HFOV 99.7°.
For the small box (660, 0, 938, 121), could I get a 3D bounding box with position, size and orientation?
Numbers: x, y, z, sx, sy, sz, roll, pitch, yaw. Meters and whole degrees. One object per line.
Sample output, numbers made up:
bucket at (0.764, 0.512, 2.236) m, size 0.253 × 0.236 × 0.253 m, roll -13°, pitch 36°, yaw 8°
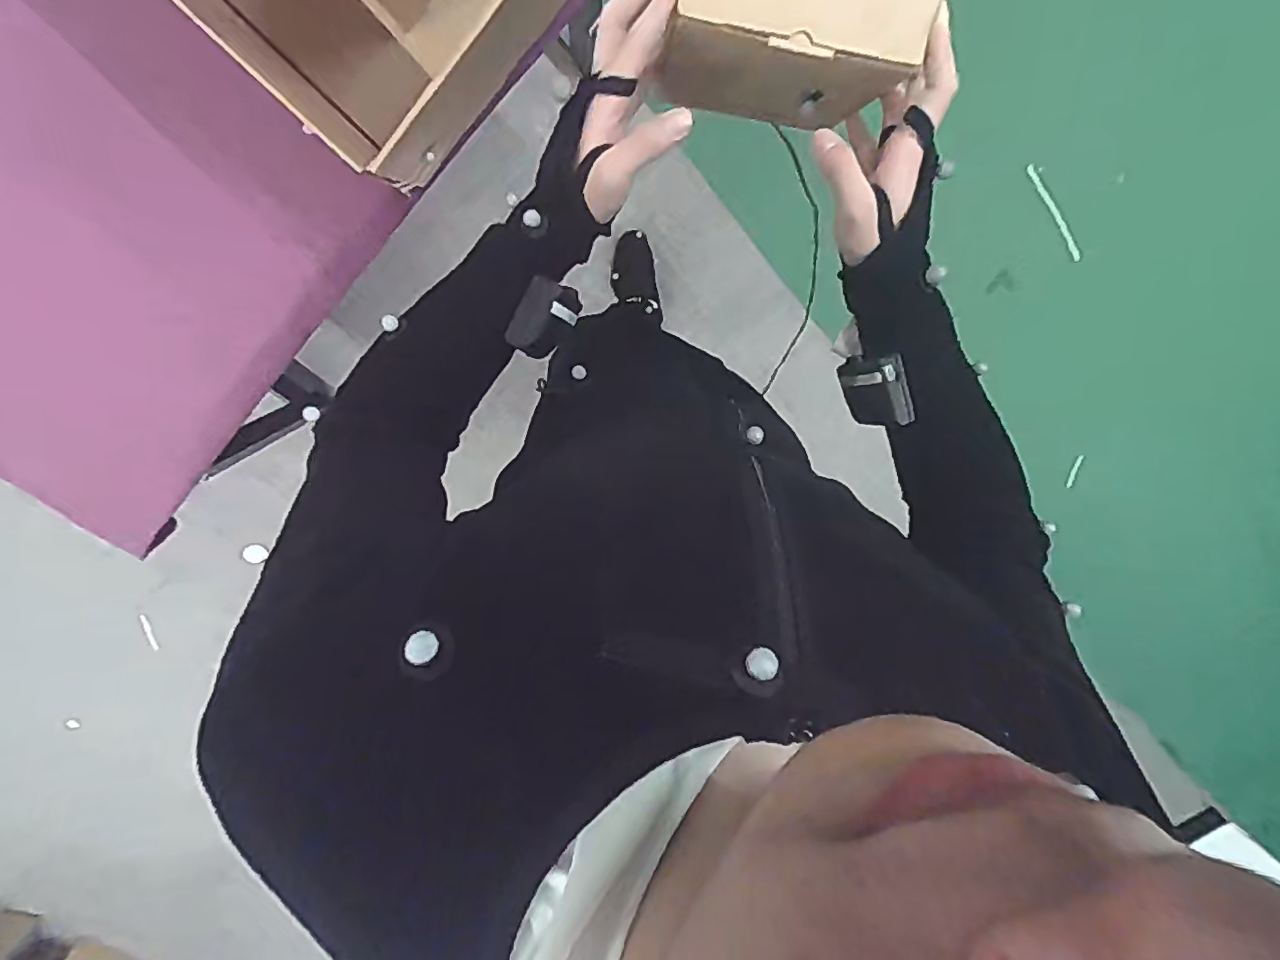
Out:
small box at (0.111, -0.385, 0.387) m, size 0.168 × 0.176 × 0.179 m, roll 7°, pitch 110°, yaw -7°
